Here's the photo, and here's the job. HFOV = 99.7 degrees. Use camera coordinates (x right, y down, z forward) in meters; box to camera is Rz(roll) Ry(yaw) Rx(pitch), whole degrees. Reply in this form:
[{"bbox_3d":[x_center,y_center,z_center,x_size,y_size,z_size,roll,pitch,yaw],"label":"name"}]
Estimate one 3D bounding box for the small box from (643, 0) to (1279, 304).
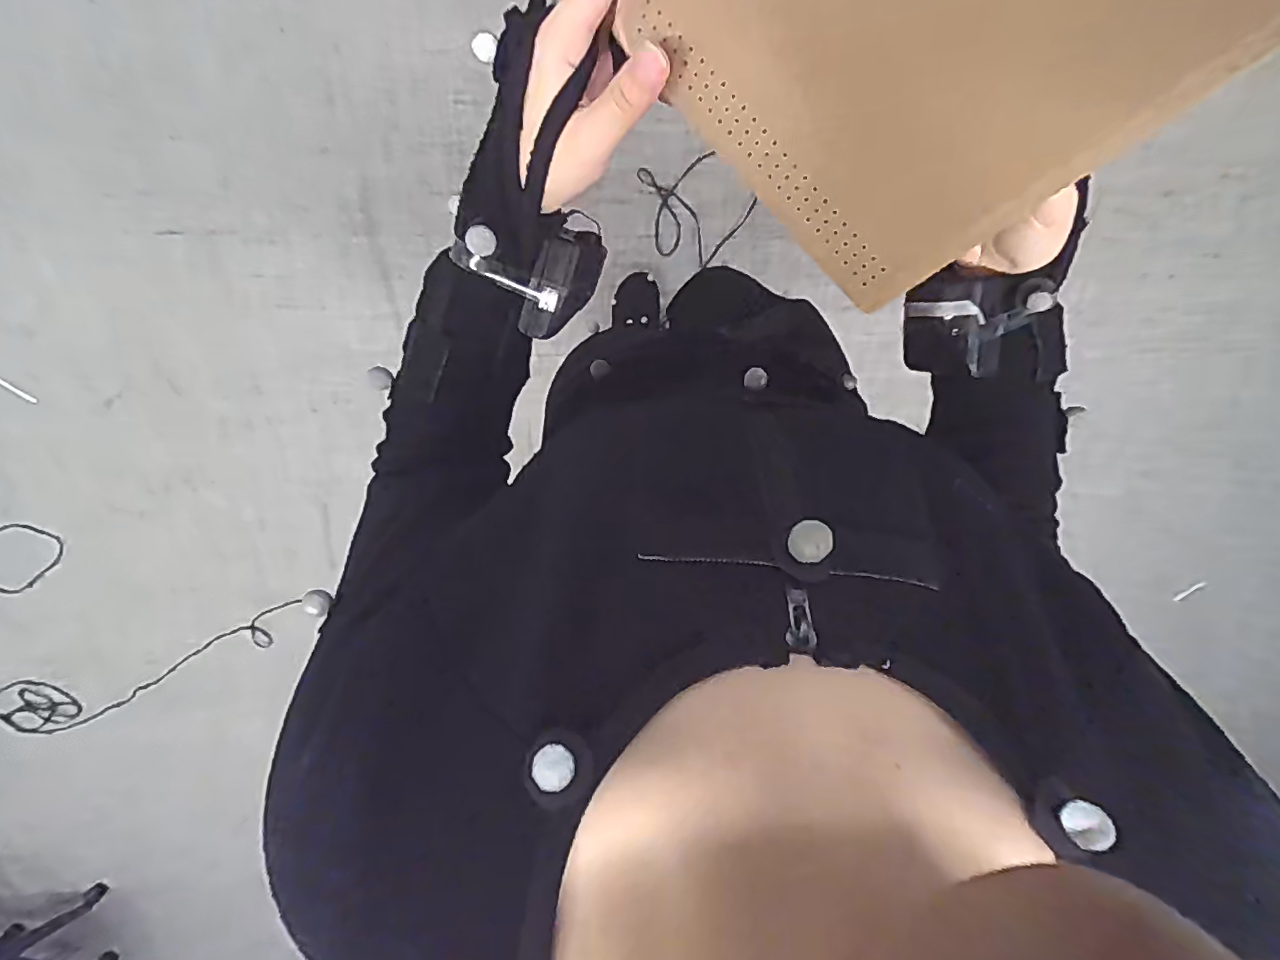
[{"bbox_3d":[0.123,-0.203,0.200,0.179,0.176,0.168,45,78,-3],"label":"small box"}]
